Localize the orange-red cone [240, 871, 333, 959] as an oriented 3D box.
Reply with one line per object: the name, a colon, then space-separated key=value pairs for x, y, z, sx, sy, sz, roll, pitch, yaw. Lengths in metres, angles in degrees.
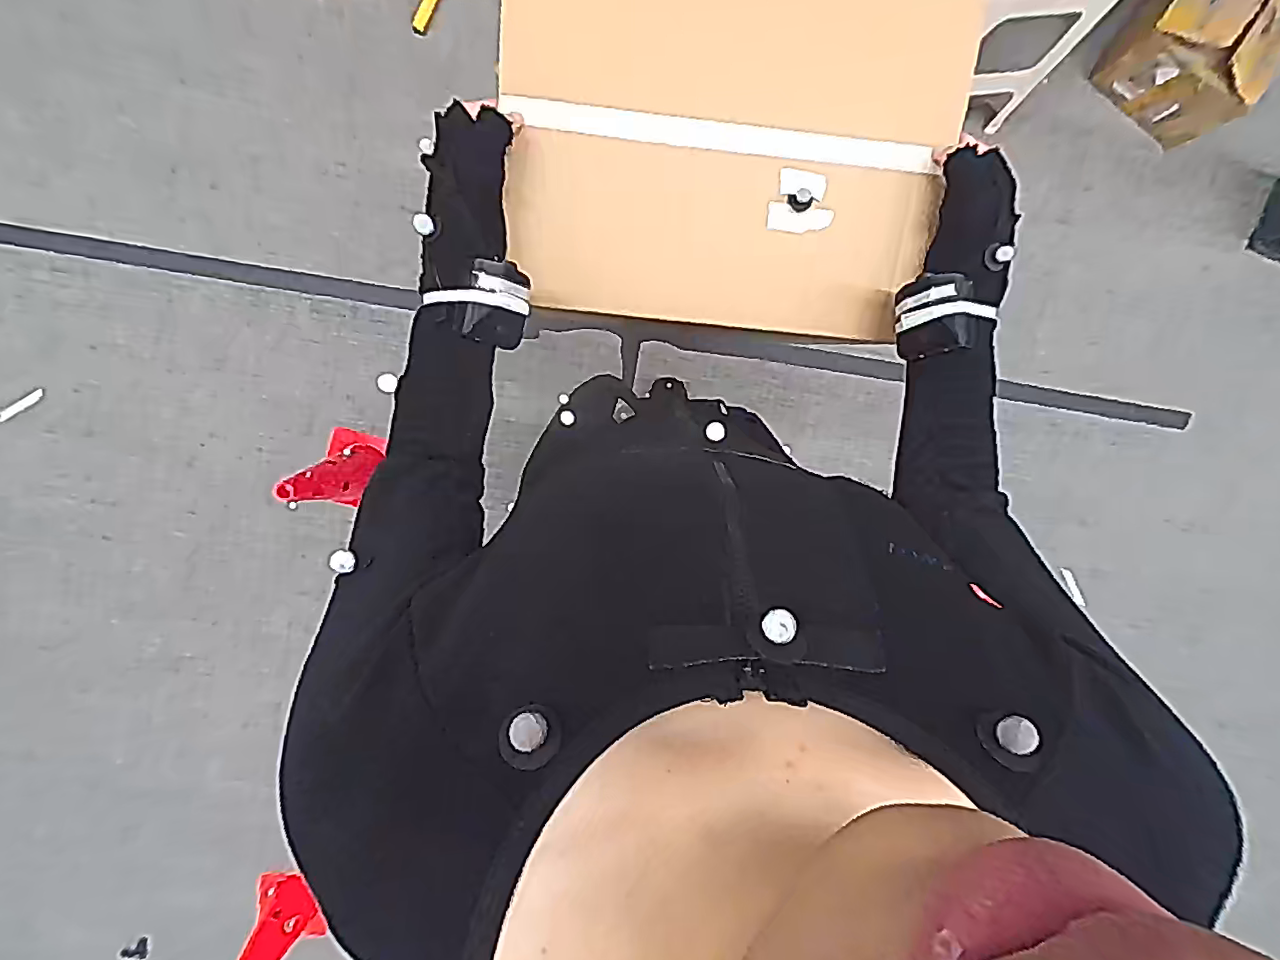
orange-red cone: x=-0.993 y=1.260 z=1.407 sx=0.198 sy=0.360 sz=0.199 roll=6 pitch=98 yaw=-3

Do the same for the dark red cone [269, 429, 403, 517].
dark red cone: x=-0.716 y=0.001 z=1.238 sx=0.201 sy=0.394 sz=0.202 roll=14 pitch=96 yaw=-6

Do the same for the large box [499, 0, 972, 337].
large box: x=0.069 y=-0.342 z=0.621 sx=0.408 sy=0.320 sz=0.320 roll=5 pitch=104 yaw=-4
